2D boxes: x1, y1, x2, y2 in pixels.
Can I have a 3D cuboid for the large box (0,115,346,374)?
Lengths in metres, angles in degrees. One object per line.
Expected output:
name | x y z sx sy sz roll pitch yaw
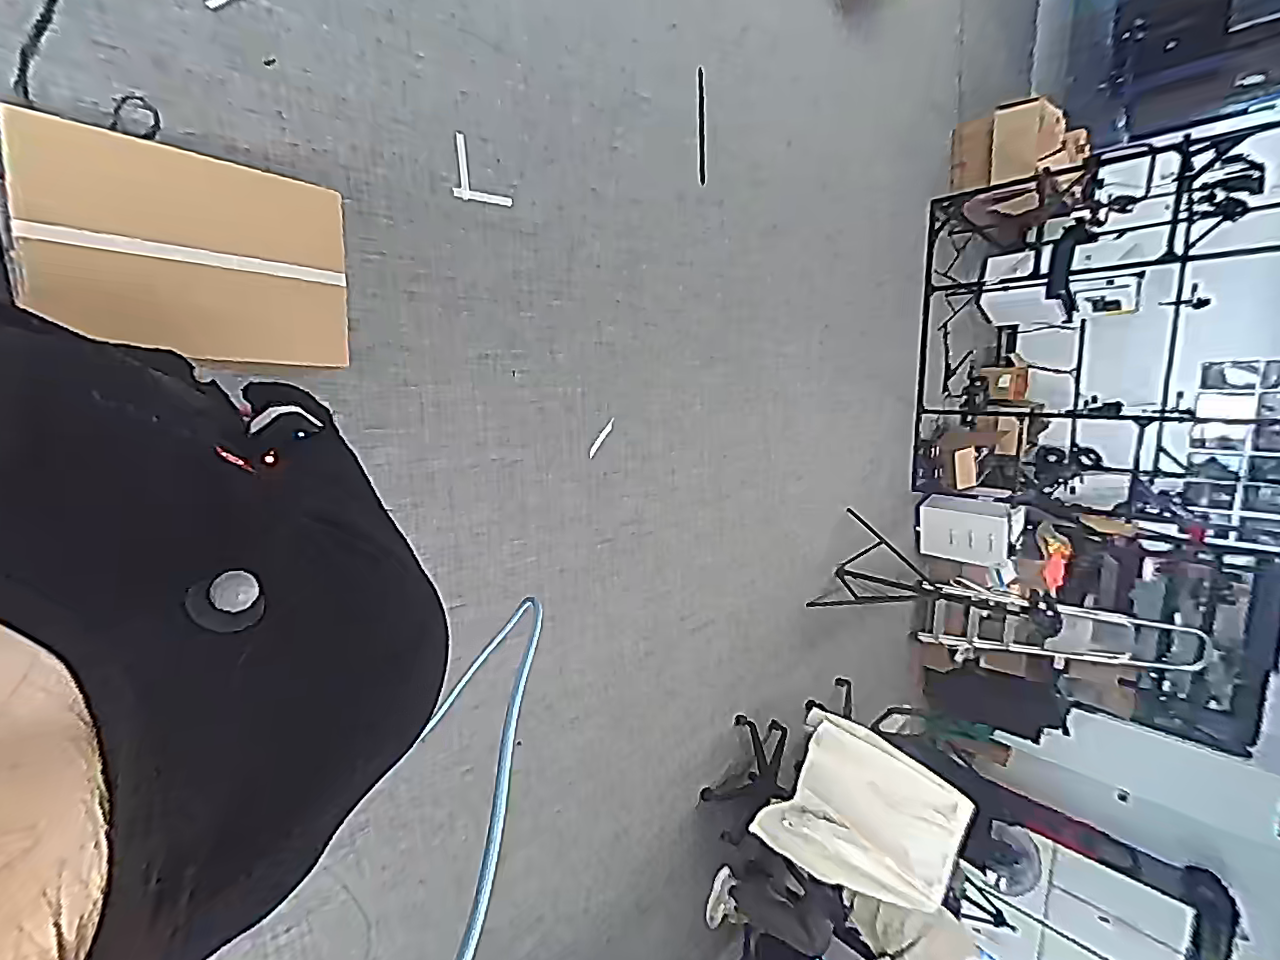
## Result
large box | -0.794 -0.356 0.956 0.408 0.320 0.320 -7 101 -44
